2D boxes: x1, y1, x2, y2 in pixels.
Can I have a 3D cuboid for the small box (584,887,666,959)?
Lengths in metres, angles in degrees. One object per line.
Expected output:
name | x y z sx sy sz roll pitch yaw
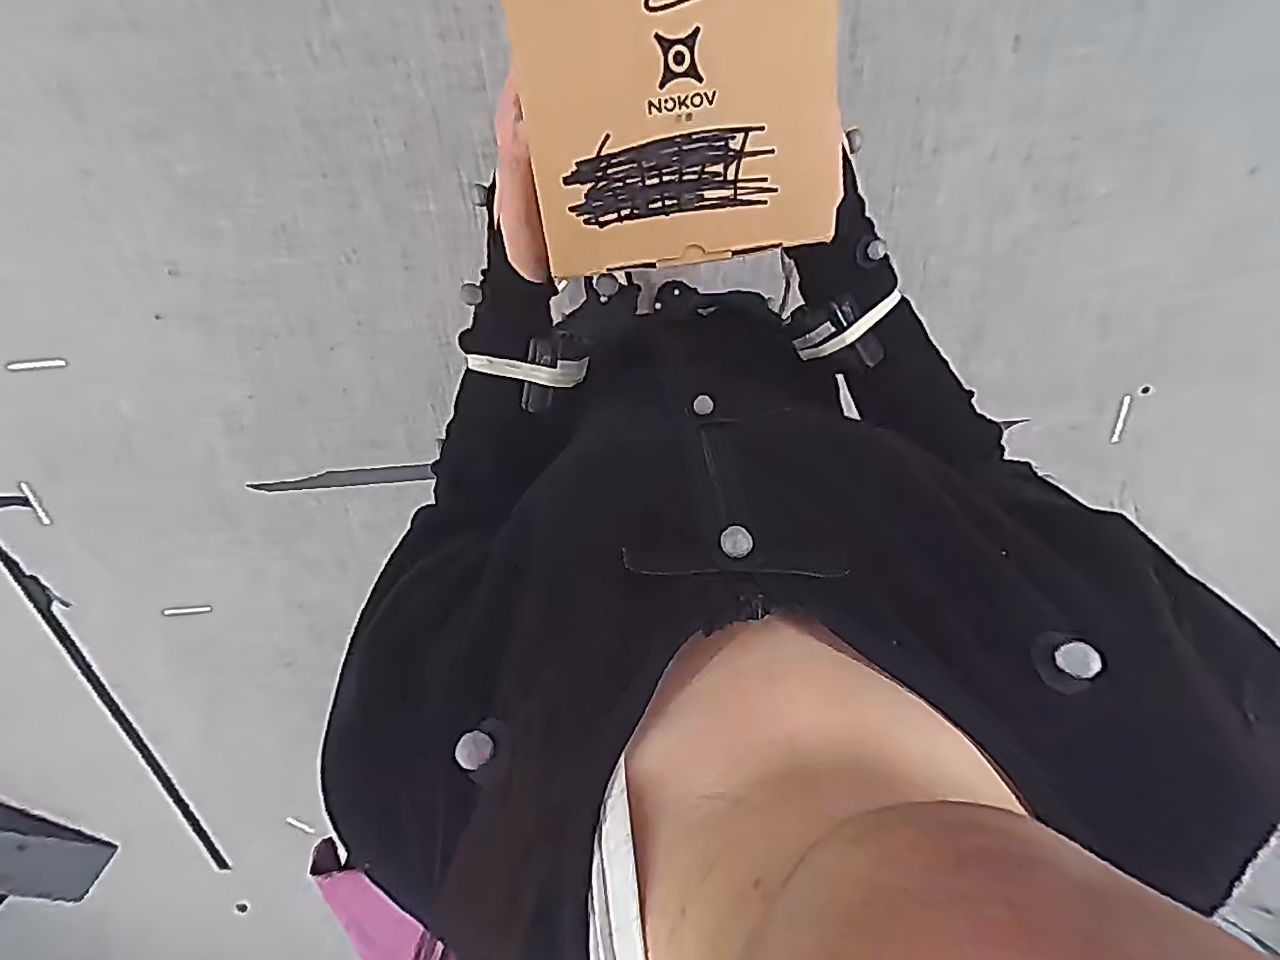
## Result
small box | -0.029 1.007 1.148 0.168 0.176 0.179 -4 115 -2
